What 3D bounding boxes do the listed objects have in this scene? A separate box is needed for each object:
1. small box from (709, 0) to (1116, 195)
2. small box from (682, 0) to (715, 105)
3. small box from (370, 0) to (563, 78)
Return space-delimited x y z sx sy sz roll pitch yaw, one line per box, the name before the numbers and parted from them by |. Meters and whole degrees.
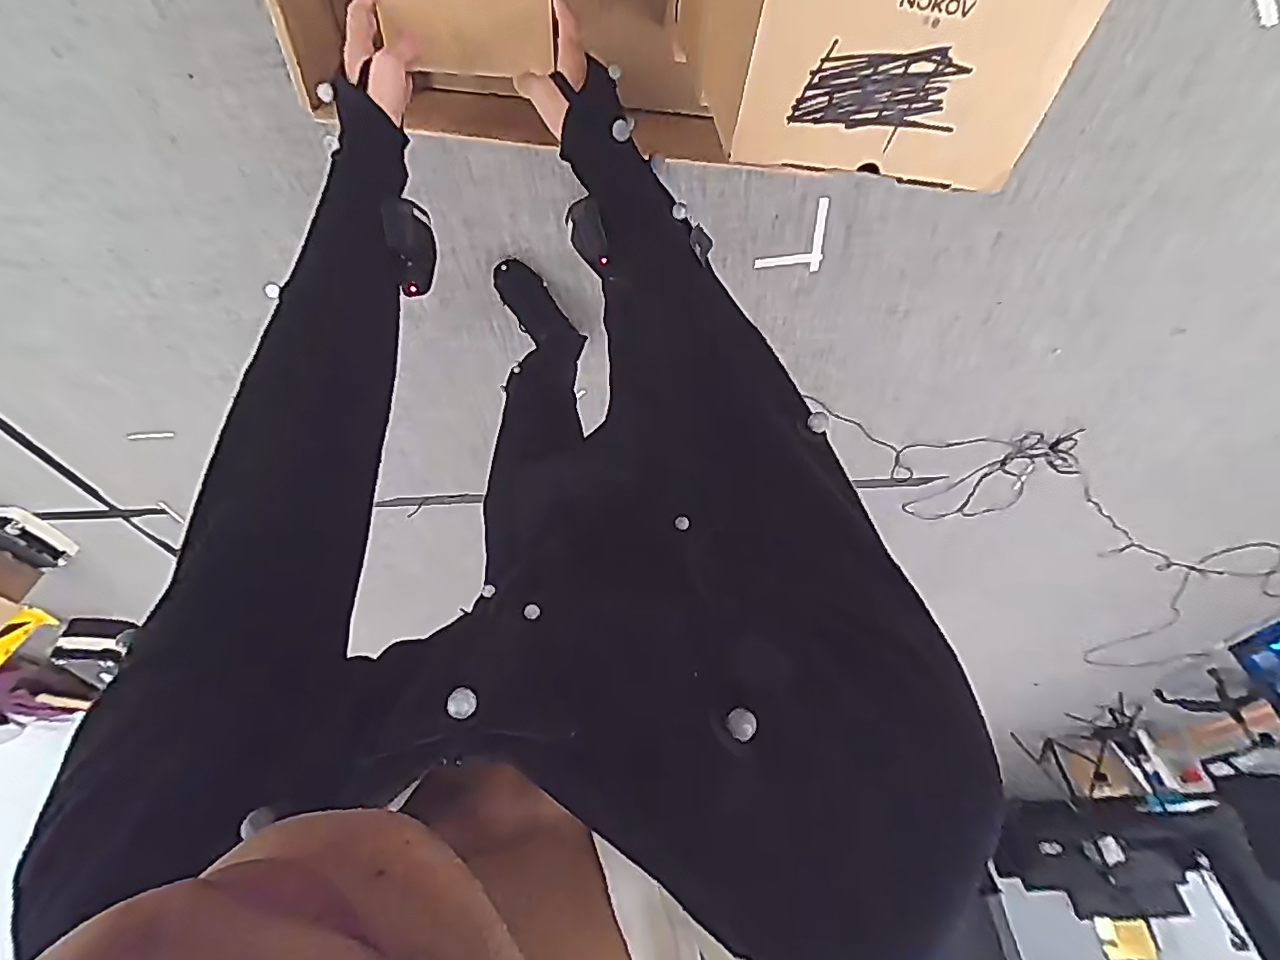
small box | 0.137 -0.288 0.294 0.168 0.176 0.179 4 138 -6
small box | 0.134 -0.403 0.413 0.179 0.176 0.168 1 139 -3
small box | -0.165 -0.522 0.523 0.168 0.176 0.179 1 139 -4
